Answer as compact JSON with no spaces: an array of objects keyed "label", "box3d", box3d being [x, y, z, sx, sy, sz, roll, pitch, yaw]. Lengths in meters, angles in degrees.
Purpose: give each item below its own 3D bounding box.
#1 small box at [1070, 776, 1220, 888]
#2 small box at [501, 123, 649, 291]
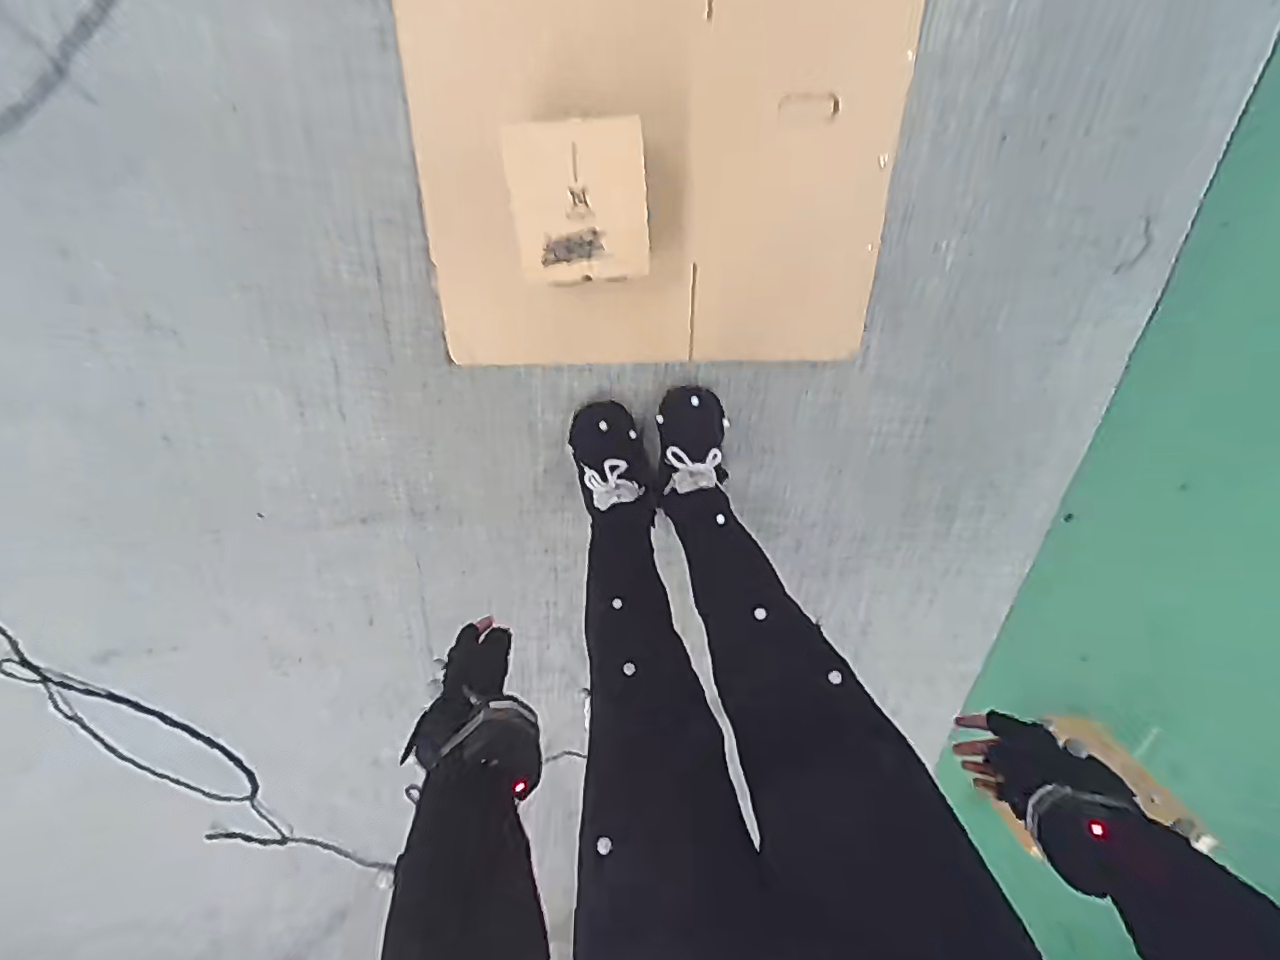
[{"label":"small box","box3d":[1.198,0.840,1.301,0.168,0.176,0.179,5,116,-9]},{"label":"small box","box3d":[-0.079,-0.362,0.726,0.168,0.176,0.179,-6,117,-3]}]
